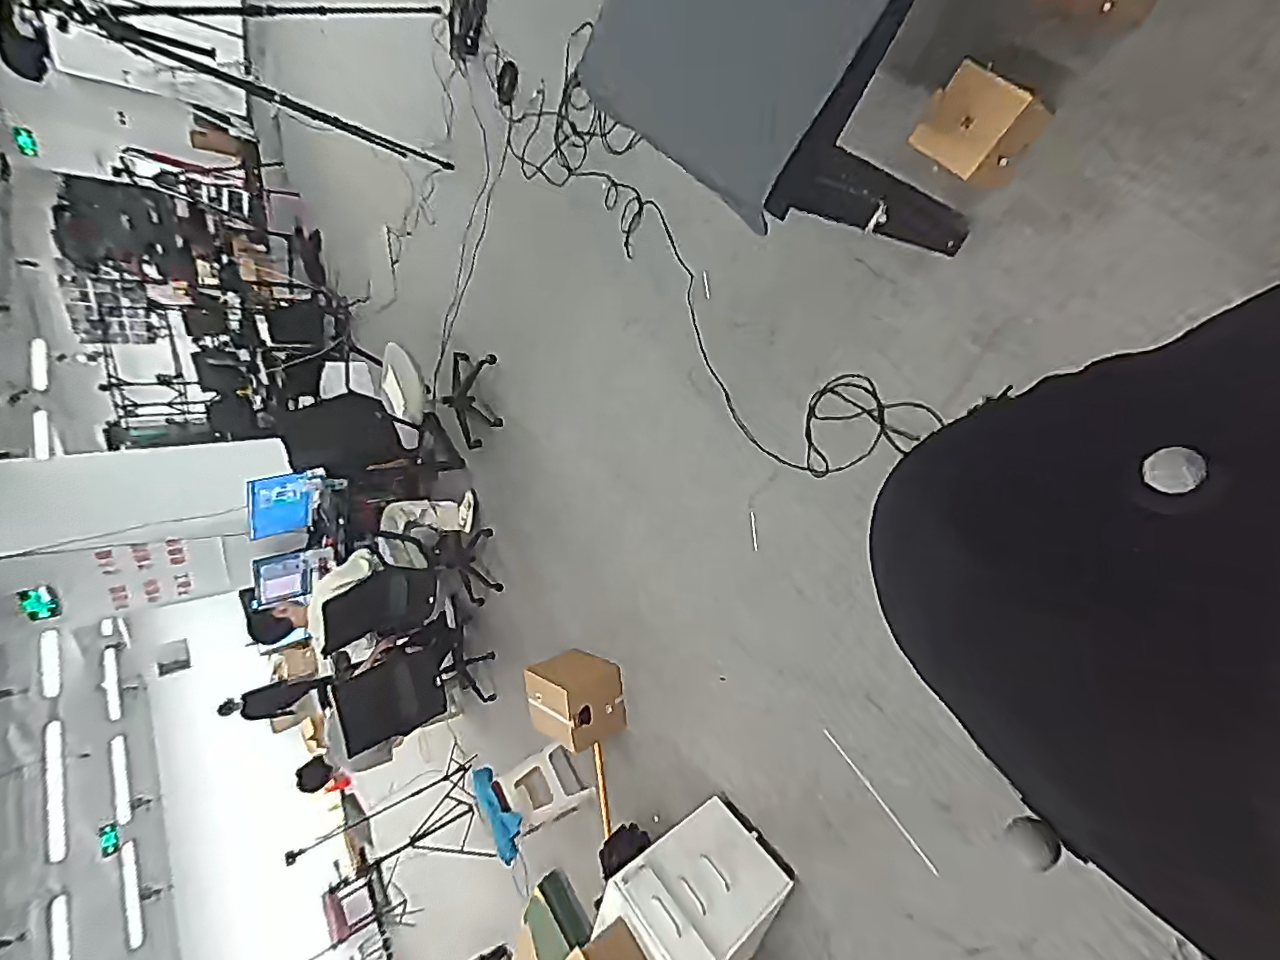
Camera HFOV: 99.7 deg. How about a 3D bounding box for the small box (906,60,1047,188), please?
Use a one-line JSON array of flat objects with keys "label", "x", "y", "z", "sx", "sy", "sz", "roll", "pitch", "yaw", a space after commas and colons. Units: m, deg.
[{"label": "small box", "x": 0.733, "y": -0.763, "z": 1.177, "sx": 0.179, "sy": 0.176, "sz": 0.168, "roll": 56, "pitch": 135, "yaw": 25}]
